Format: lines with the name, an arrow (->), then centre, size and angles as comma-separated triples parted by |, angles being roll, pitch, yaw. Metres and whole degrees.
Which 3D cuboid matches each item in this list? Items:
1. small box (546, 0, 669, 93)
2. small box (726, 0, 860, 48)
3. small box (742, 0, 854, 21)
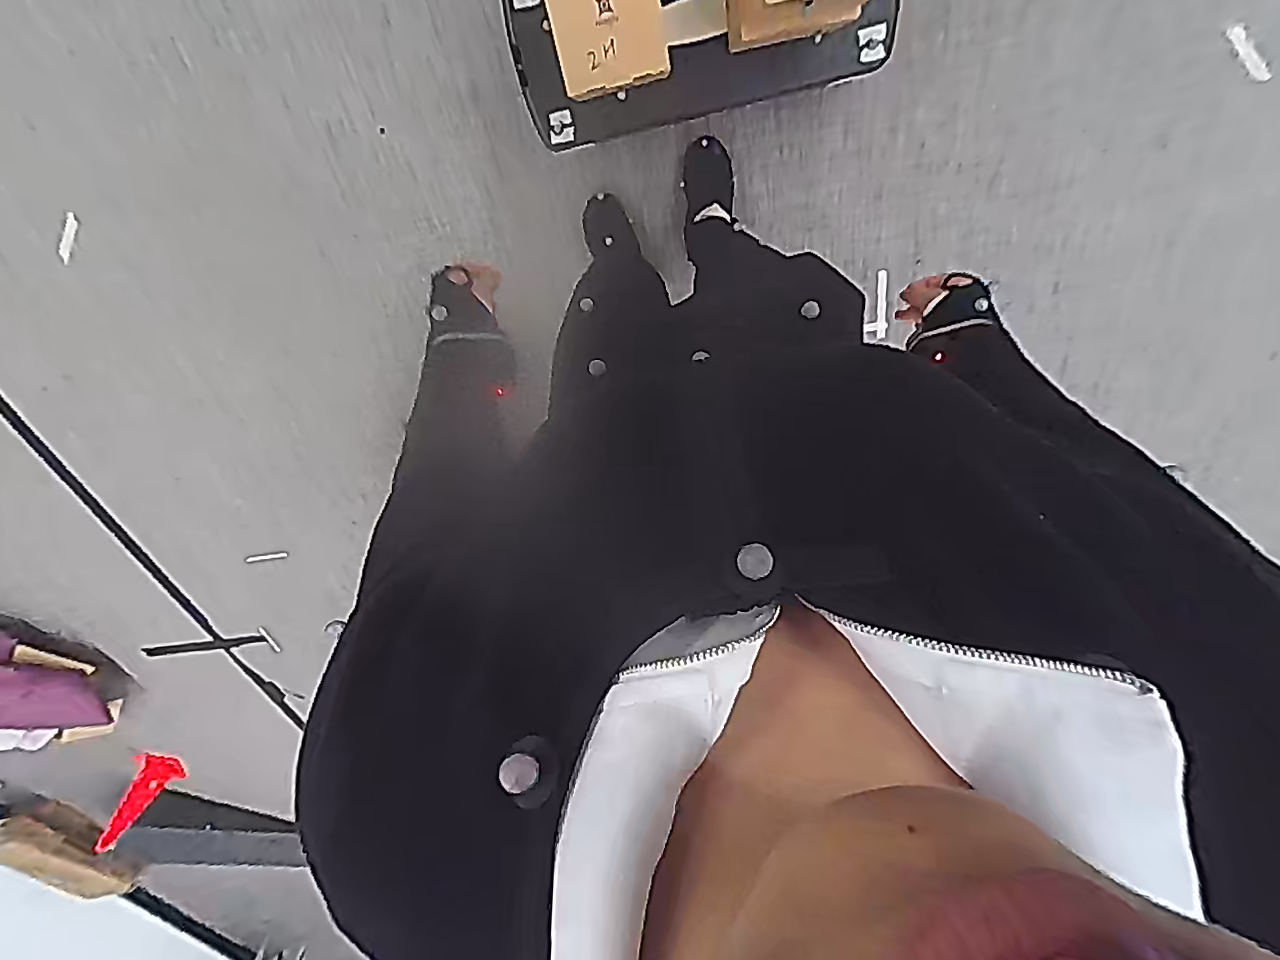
small box -> -0.052, -0.726, 0.850 | 0.168, 0.176, 0.179 | -10, 123, 7
small box -> 0.223, -0.777, 0.817 | 0.179, 0.176, 0.168 | -8, 123, 6
small box -> 0.221, -0.701, 0.672 | 0.179, 0.176, 0.168 | -6, 123, 5
